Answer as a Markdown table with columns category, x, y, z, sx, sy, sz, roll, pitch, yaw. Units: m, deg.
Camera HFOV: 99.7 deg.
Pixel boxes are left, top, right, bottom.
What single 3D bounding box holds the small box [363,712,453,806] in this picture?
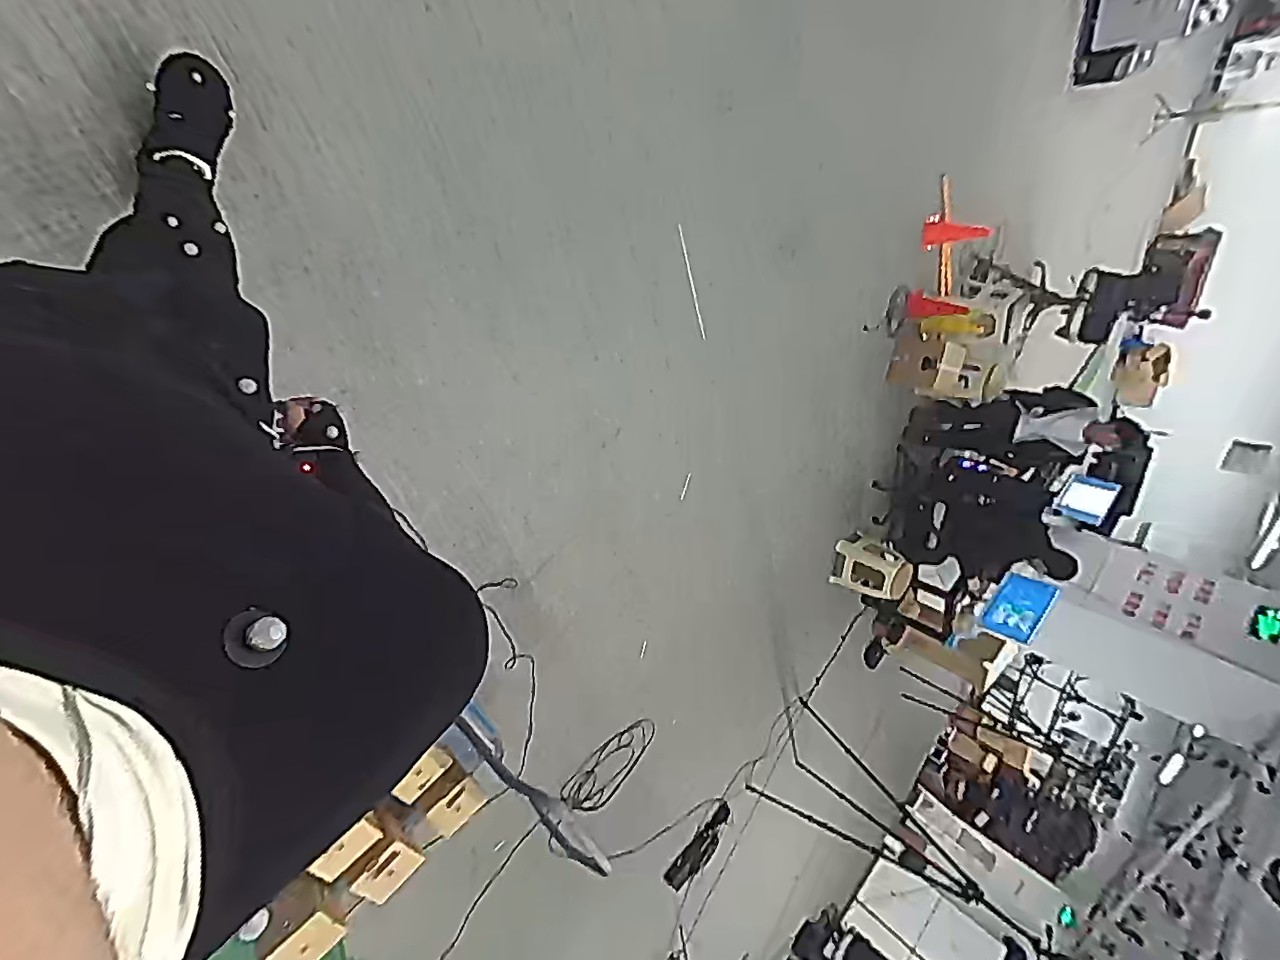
| category | x | y | z | sx | sy | sz | roll | pitch | yaw |
| --- | --- | --- | --- | --- | --- | --- | --- | --- | --- |
| small box | -0.721 | 0.854 | 1.672 | 0.168 | 0.176 | 0.179 | -41 | 131 | -25 |

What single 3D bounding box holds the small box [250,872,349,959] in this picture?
| category | x | y | z | sx | sy | sz | roll | pitch | yaw |
| --- | --- | --- | --- | --- | --- | --- | --- | --- | --- |
| small box | -1.008 | 1.318 | 1.597 | 0.179 | 0.176 | 0.168 | -36 | 129 | -28 |

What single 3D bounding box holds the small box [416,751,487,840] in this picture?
| category | x | y | z | sx | sy | sz | roll | pitch | yaw |
| --- | --- | --- | --- | --- | --- | --- | --- | --- | --- |
| small box | -0.655 | 1.056 | 1.827 | 0.168 | 0.176 | 0.179 | -36 | 130 | -27 |
